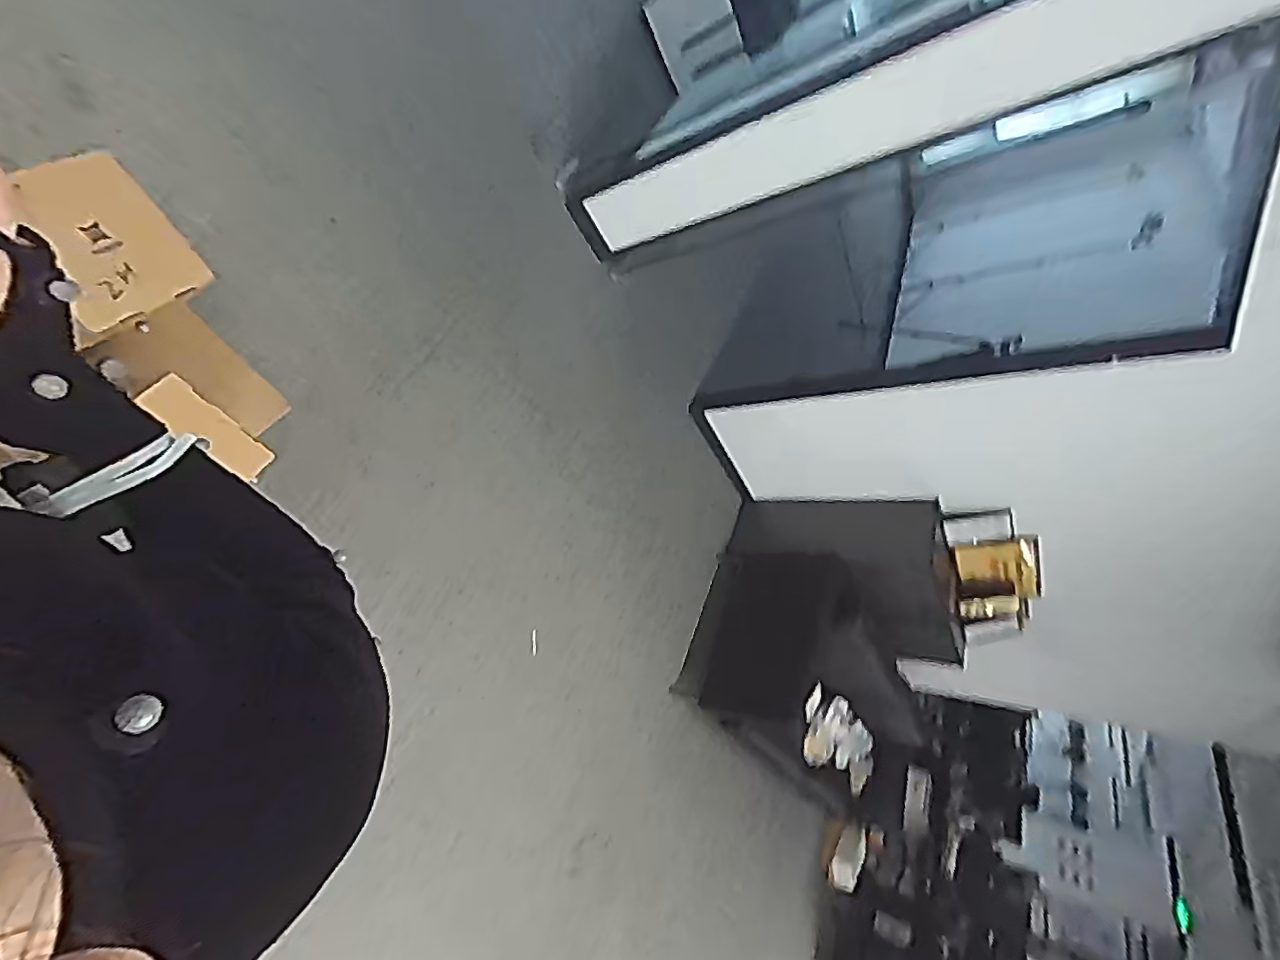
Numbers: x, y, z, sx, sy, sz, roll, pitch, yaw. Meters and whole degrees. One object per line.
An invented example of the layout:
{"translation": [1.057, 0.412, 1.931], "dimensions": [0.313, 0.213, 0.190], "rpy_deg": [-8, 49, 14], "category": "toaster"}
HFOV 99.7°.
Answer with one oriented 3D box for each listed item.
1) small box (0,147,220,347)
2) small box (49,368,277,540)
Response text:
{"translation": [-0.729, -0.300, 0.720], "dimensions": [0.168, 0.176, 0.179], "rpy_deg": [-55, 131, -38], "category": "small box"}
{"translation": [-0.681, -0.034, 0.776], "dimensions": [0.168, 0.176, 0.179], "rpy_deg": [56, 49, -37], "category": "small box"}
